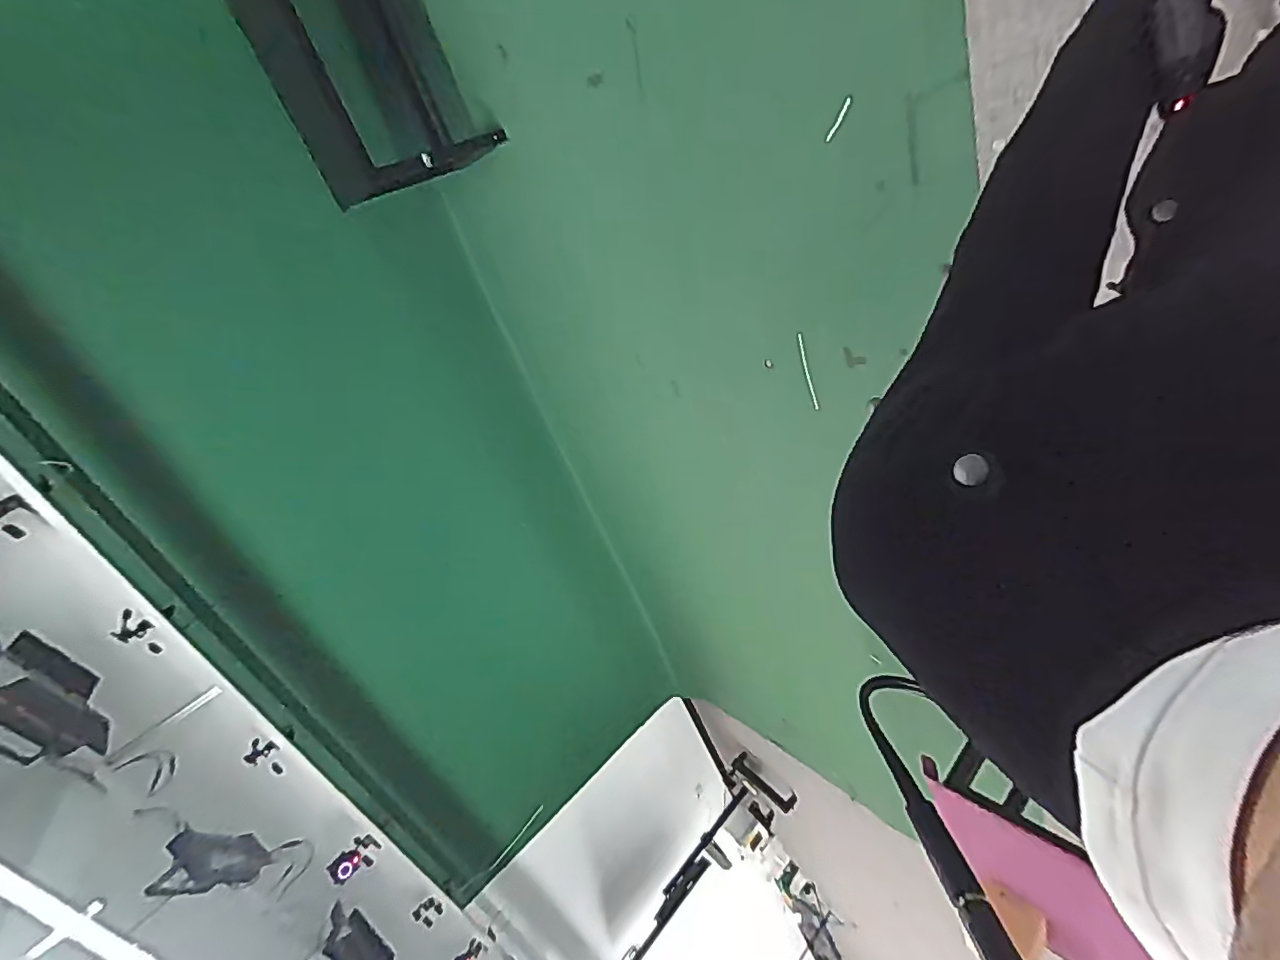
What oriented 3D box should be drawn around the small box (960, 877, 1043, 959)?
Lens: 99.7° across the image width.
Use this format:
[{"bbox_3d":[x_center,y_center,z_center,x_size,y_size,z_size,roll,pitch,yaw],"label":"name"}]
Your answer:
[{"bbox_3d":[1.111,1.382,1.656,0.168,0.176,0.179,14,134,50],"label":"small box"}]
